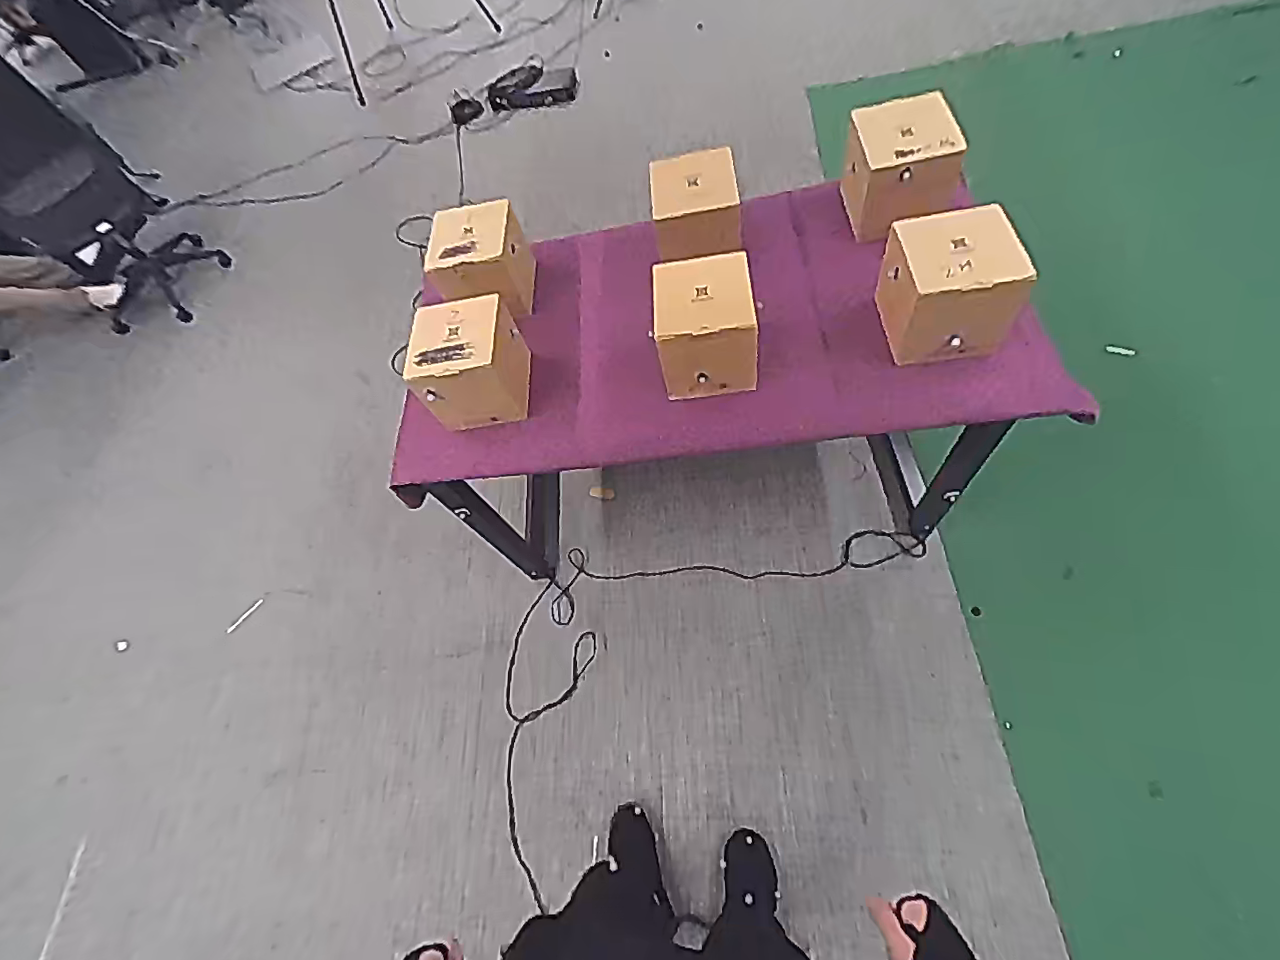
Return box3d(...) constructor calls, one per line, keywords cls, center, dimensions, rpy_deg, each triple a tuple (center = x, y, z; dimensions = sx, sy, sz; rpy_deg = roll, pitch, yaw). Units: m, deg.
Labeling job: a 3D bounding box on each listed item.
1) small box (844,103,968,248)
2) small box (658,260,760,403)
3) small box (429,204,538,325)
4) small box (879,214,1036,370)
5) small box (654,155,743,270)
box3d(cls="small box", center=(0.512, -0.596, 1.071), dimensions=(0.168, 0.176, 0.179), rpy_deg=(-7, 63, 10))
box3d(cls="small box", center=(0.123, -0.264, 0.978), dimensions=(0.168, 0.176, 0.179), rpy_deg=(-5, 61, 8))
box3d(cls="small box", center=(-0.327, -0.454, 1.168), dimensions=(0.168, 0.176, 0.179), rpy_deg=(-6, 62, 8))
box3d(cls="small box", center=(0.520, -0.313, 0.918), dimensions=(0.168, 0.176, 0.179), rpy_deg=(-5, 60, 10))
box3d(cls="small box", center=(0.122, -0.529, 1.121), dimensions=(0.168, 0.176, 0.179), rpy_deg=(-6, 63, 9))
